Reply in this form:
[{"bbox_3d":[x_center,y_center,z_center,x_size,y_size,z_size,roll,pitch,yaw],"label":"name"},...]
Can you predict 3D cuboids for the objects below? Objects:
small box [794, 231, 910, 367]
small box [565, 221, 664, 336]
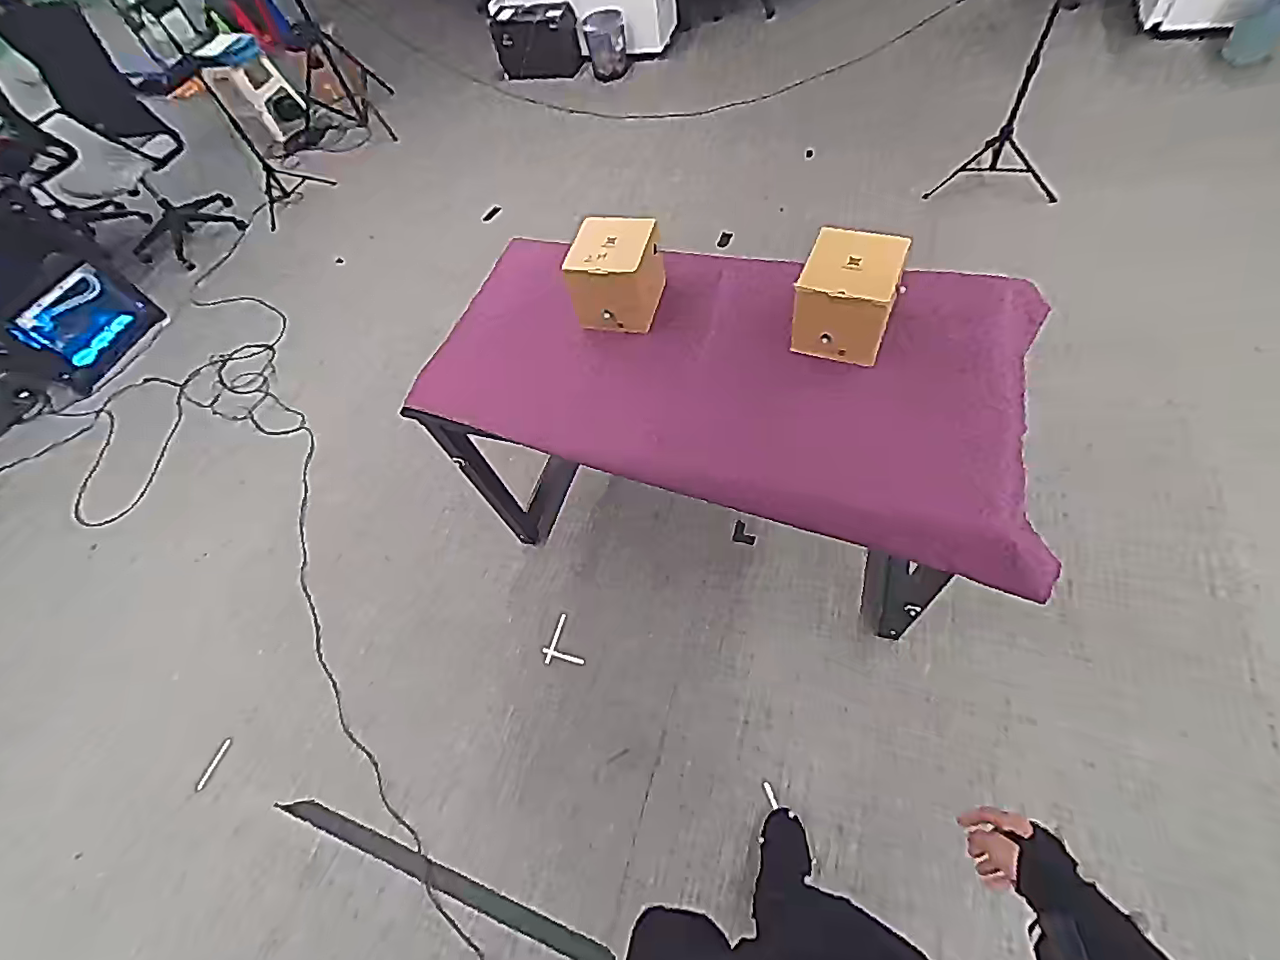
[{"bbox_3d":[0.409,-0.354,1.065,0.168,0.176,0.179,18,65,21],"label":"small box"},{"bbox_3d":[-0.047,-0.450,1.212,0.168,0.176,0.179,9,62,16],"label":"small box"}]
